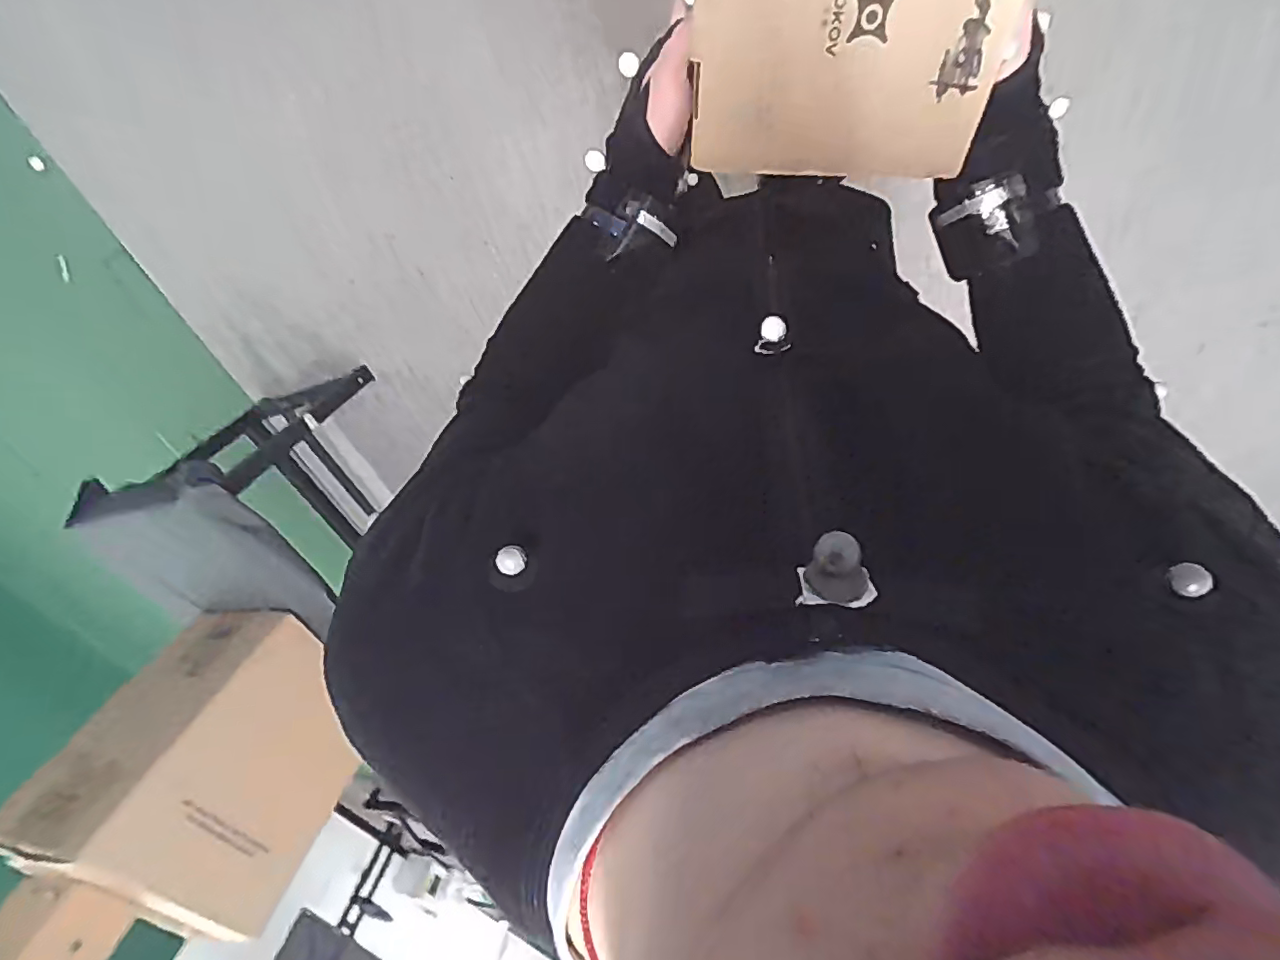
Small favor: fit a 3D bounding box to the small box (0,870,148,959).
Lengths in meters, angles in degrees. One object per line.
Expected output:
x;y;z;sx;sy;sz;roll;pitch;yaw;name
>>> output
-1.247;0.969;1.168;0.168;0.176;0.179;-9;126;15;small box
